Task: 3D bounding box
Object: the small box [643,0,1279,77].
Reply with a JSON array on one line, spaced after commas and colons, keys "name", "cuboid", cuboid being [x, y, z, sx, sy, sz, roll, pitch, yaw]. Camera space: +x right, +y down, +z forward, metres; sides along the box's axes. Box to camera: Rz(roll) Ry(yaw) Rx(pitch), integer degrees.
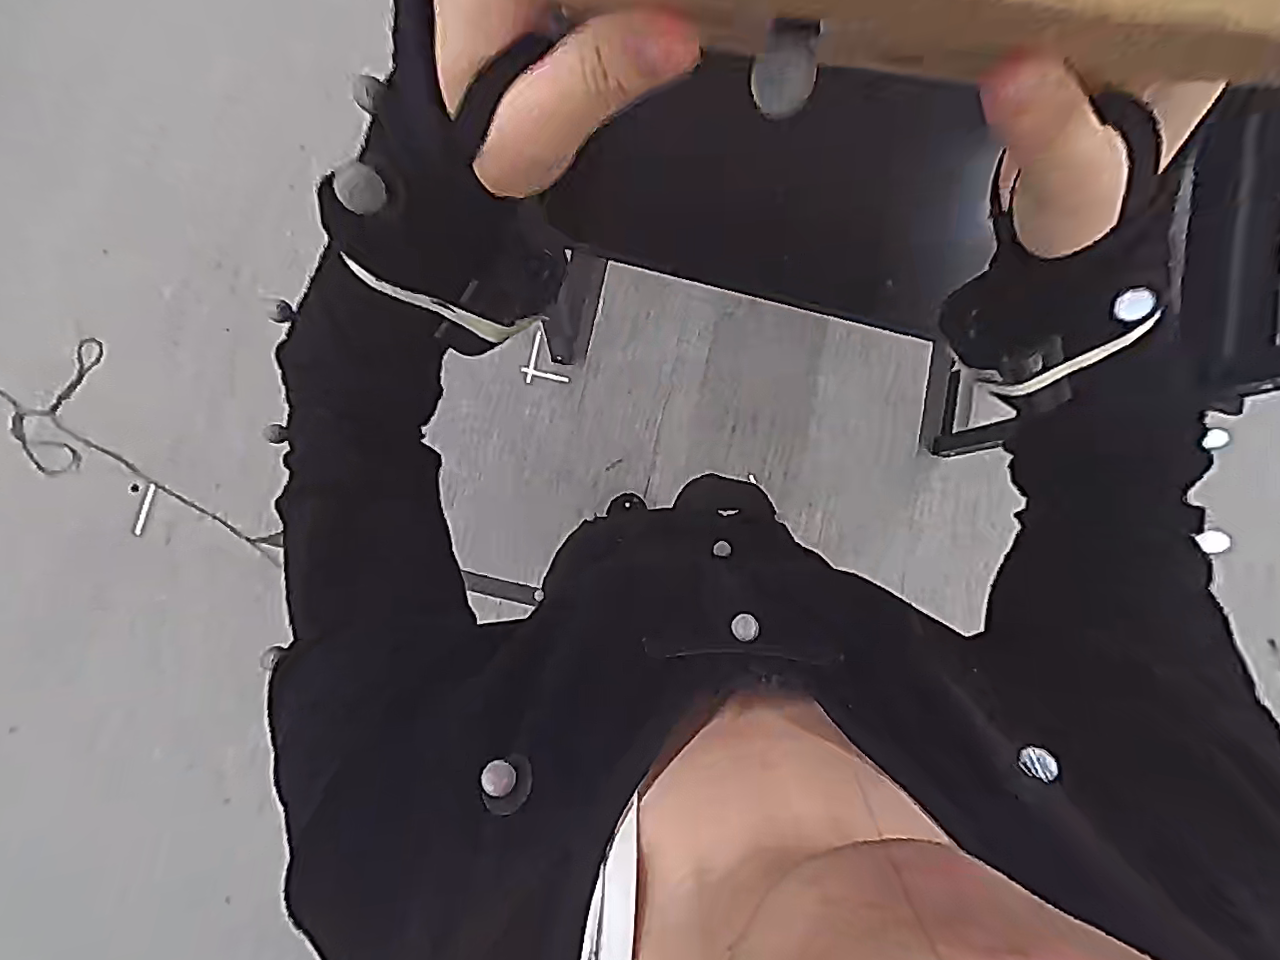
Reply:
[{"name": "small box", "cuboid": [0.071, -0.177, 0.078, 0.168, 0.176, 0.179, 10, 125, 1]}]
